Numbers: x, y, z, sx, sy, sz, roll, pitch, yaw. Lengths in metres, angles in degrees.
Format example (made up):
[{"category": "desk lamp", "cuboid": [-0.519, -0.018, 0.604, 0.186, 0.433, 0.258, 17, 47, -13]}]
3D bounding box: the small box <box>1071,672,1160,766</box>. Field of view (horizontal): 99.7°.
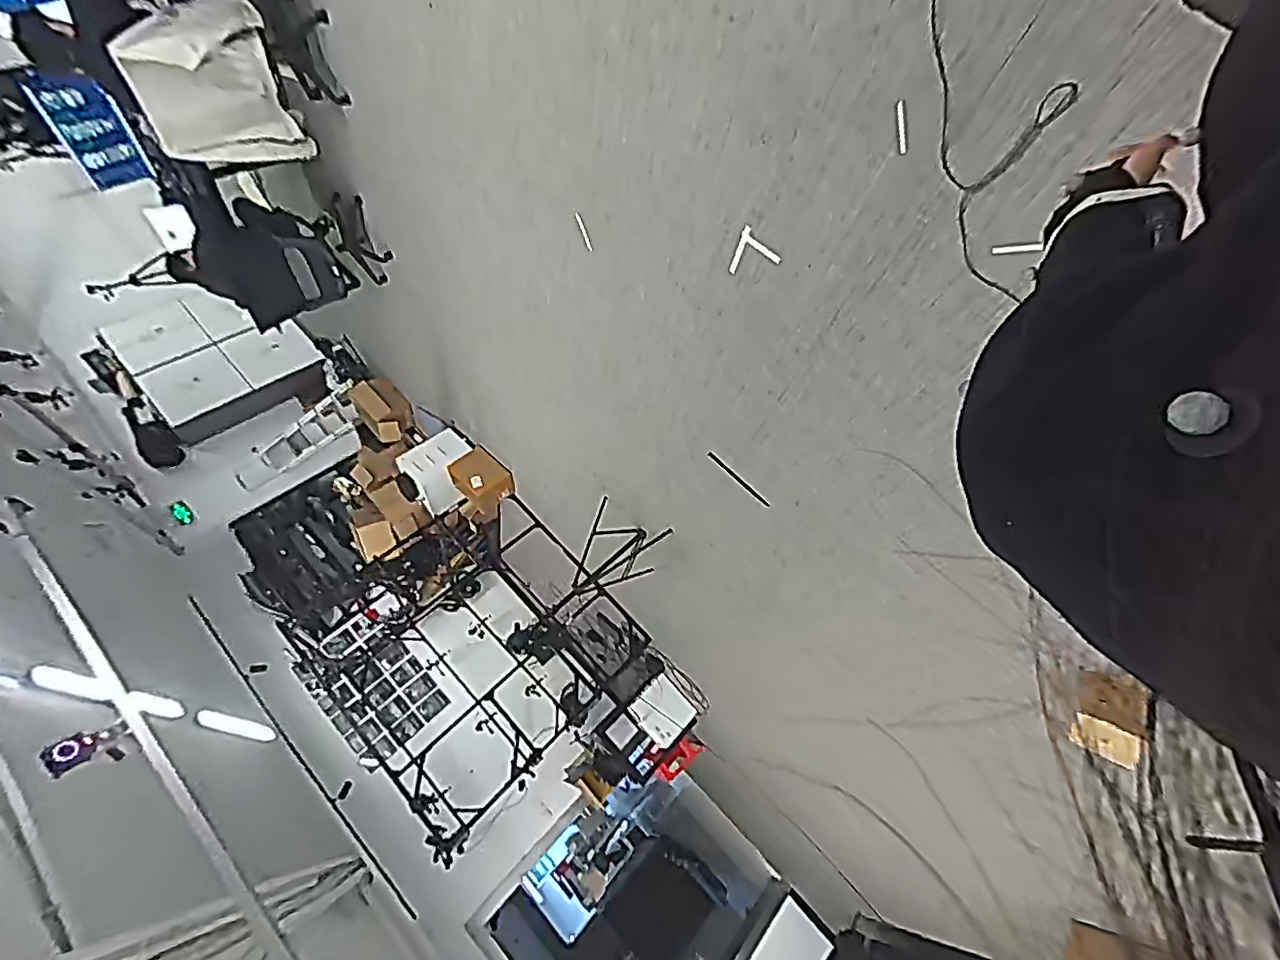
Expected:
[{"category": "small box", "cuboid": [1.485, 0.739, 1.689, 0.168, 0.176, 0.179, 21, 141, 45]}]
